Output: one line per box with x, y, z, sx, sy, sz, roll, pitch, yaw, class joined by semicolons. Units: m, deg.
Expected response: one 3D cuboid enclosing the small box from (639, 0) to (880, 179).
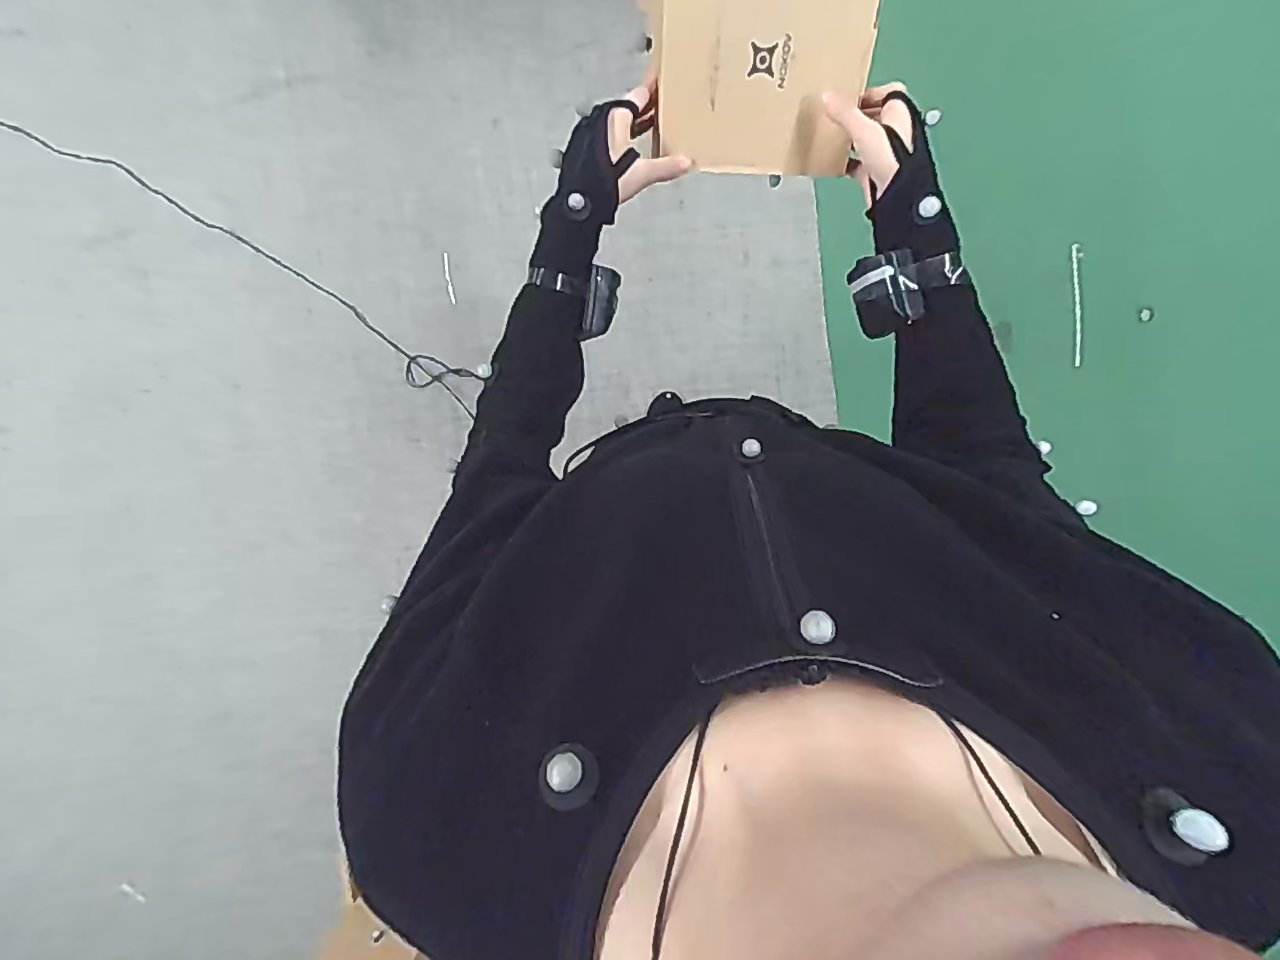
0.096;-0.387;0.506;0.179;0.176;0.168;0;123;-5;small box
